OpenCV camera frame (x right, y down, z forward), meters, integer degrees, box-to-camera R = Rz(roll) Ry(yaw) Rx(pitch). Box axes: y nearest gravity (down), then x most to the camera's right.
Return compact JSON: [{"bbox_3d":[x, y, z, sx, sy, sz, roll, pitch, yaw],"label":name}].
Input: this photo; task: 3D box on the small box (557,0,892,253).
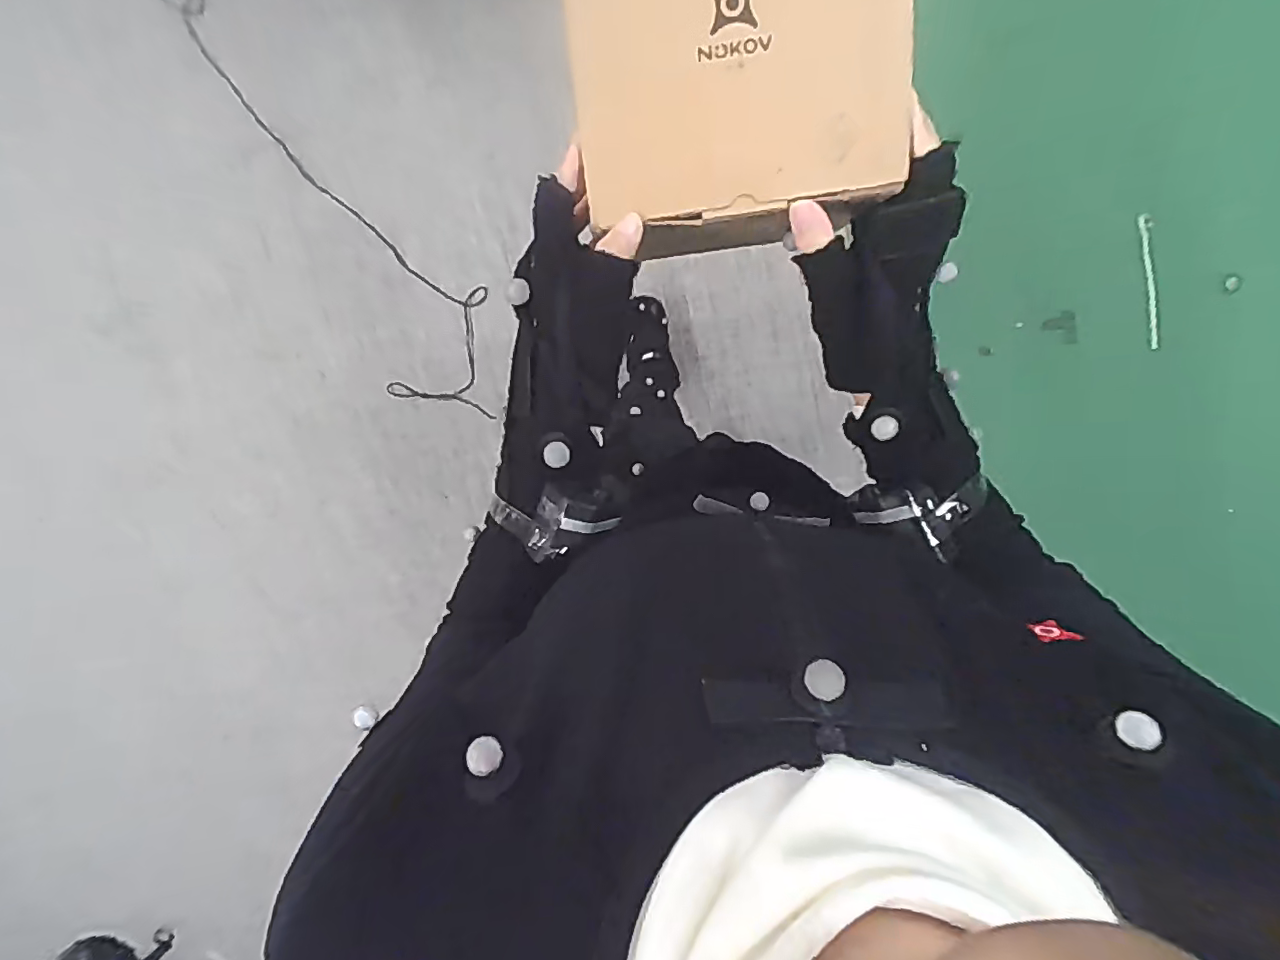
[{"bbox_3d":[0.050,-0.251,0.346,0.168,0.176,0.179,-5,105,8],"label":"small box"}]
